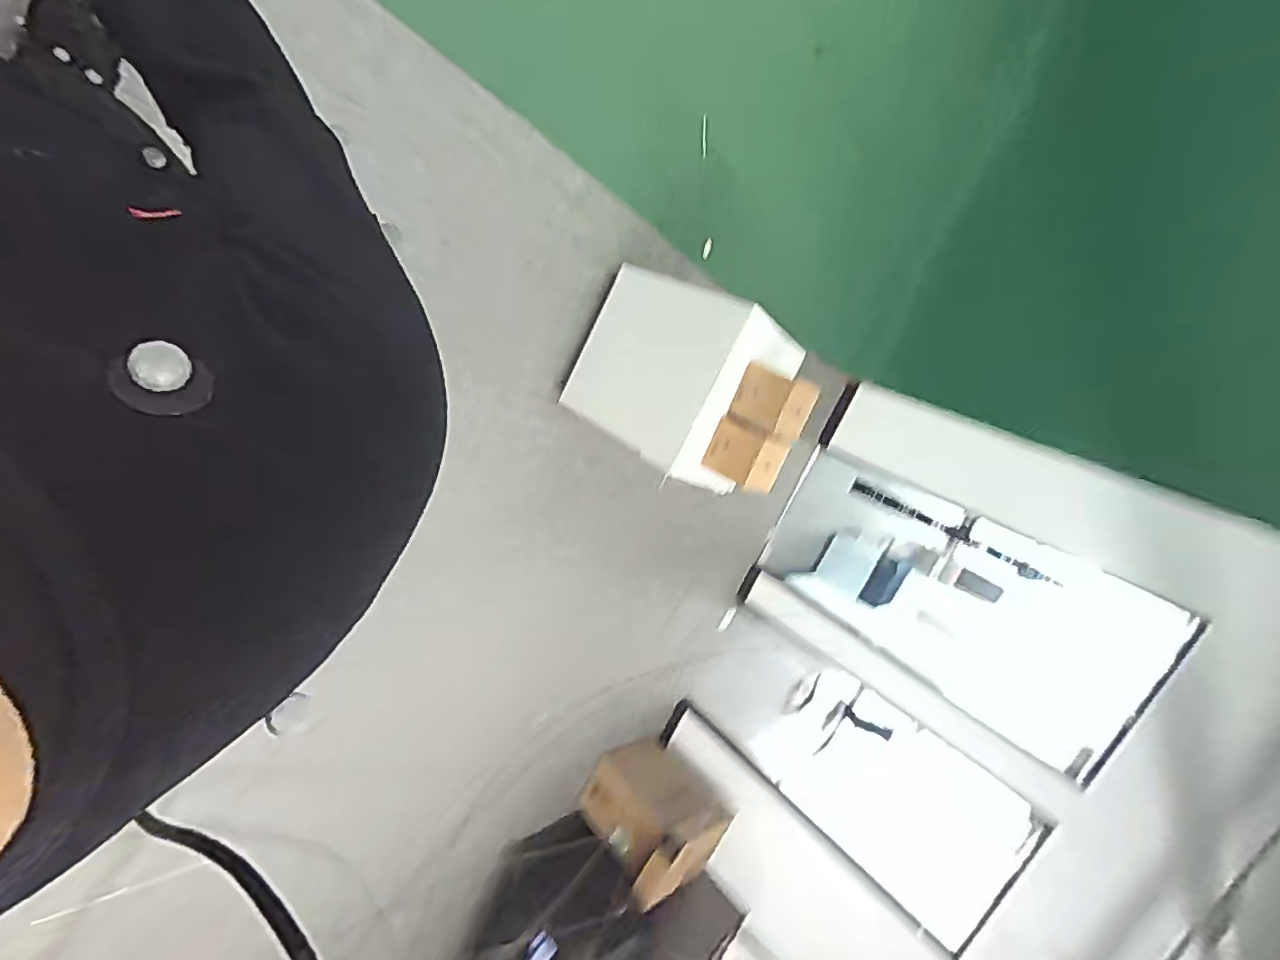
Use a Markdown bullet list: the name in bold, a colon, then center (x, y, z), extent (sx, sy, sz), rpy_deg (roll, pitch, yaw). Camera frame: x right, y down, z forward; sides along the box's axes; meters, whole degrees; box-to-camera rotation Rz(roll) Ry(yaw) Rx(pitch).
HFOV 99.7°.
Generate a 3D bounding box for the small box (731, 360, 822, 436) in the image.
- **small box**: center (0.403, -0.244, 1.606), extent (0.179, 0.176, 0.168), rpy_deg (3, 113, -50)
